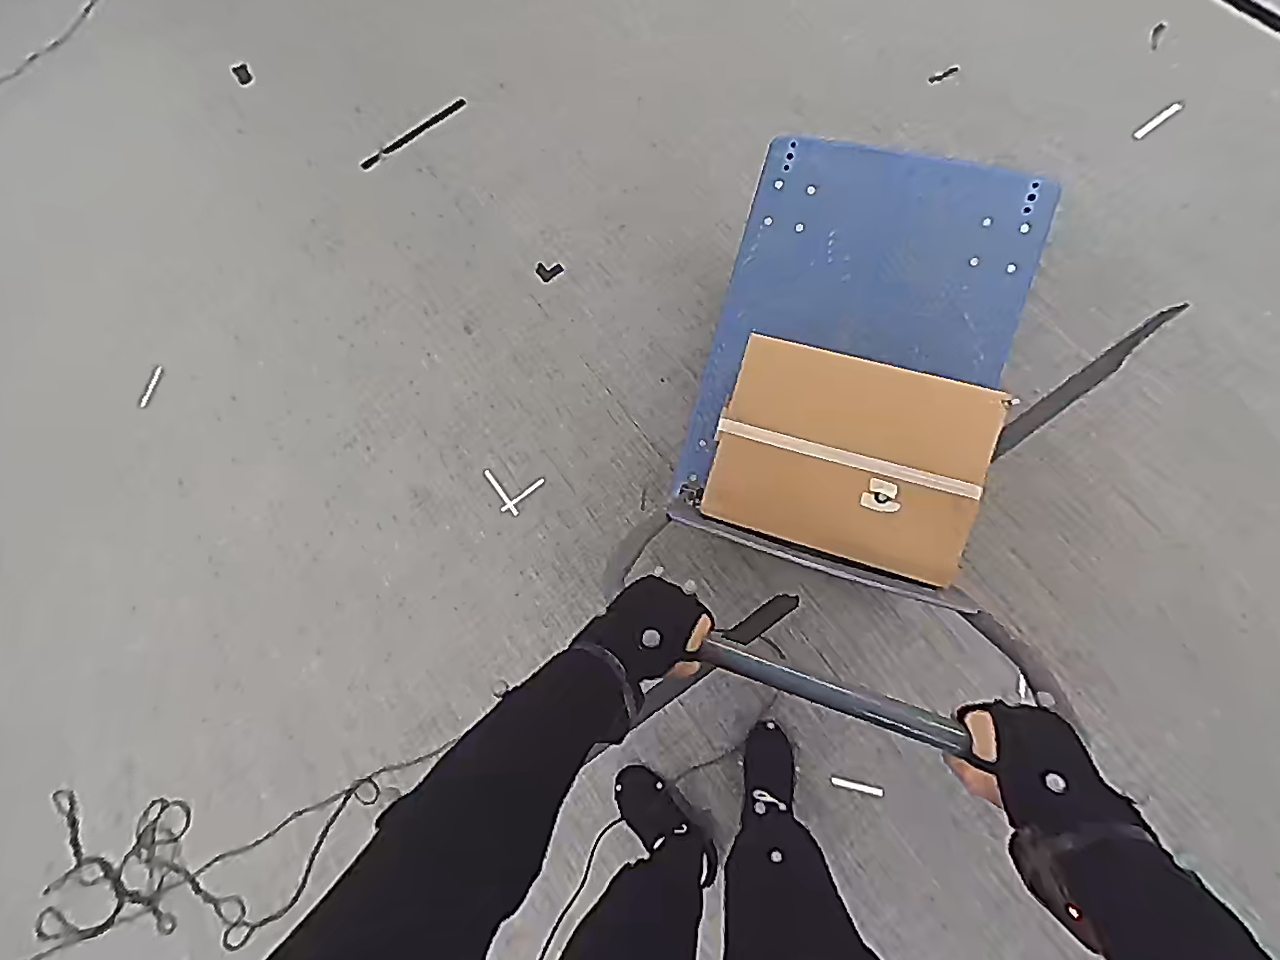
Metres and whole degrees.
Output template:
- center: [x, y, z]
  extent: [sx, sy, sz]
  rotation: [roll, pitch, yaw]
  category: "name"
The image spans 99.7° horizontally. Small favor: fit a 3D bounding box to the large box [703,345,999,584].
- center: [0.358, -0.033, 1.026]
  extent: [0.408, 0.320, 0.320]
  rotation: [16, 95, 10]
  category: "large box"
